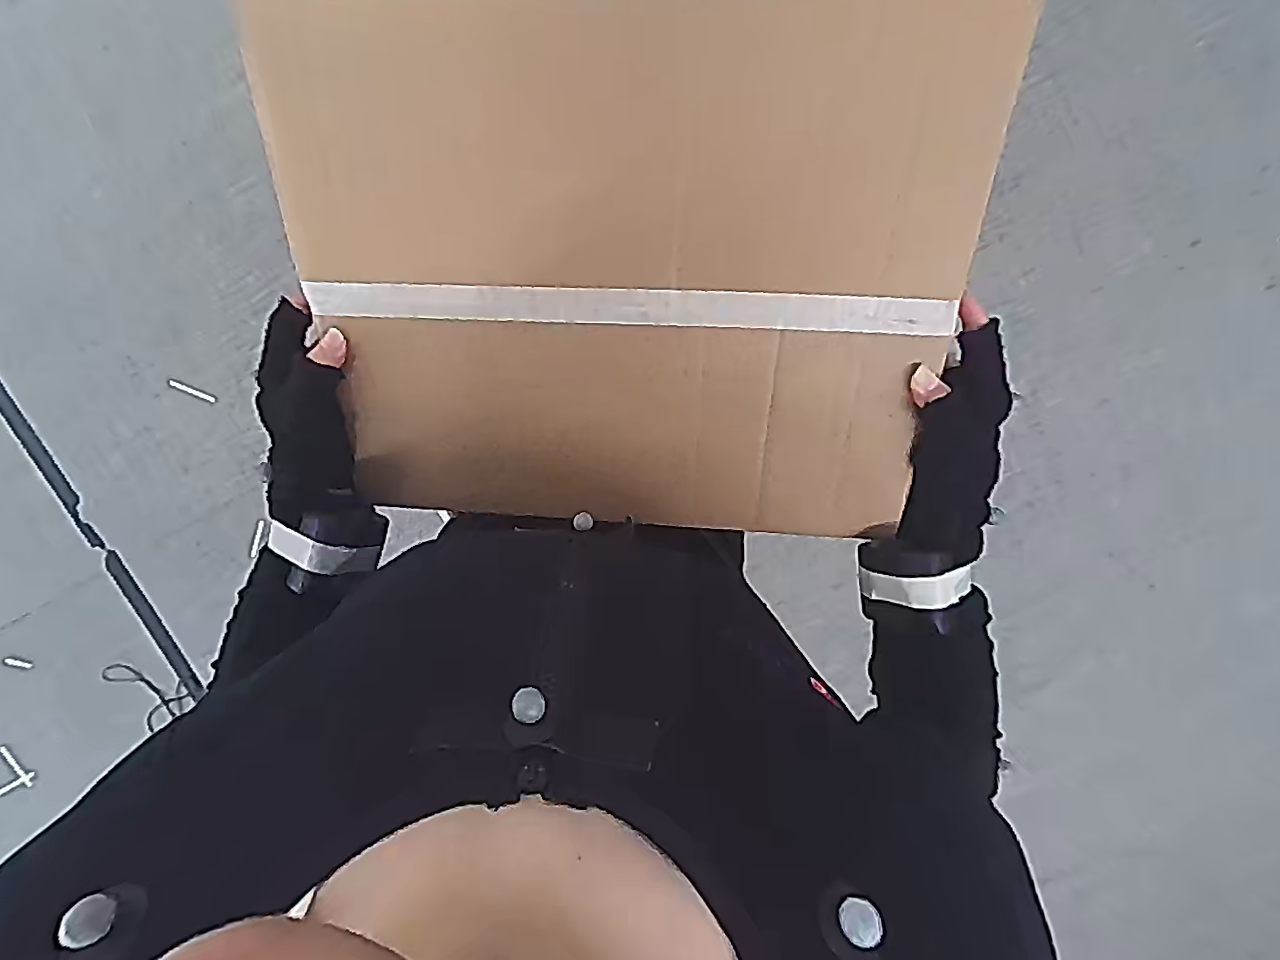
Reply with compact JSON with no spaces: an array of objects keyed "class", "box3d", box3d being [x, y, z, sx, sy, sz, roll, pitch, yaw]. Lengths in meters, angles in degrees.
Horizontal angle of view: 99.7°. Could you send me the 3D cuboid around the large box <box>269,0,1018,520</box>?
[{"class":"large box","box3d":[0.001,-0.182,0.481,0.408,0.320,0.320,3,119,4]}]
